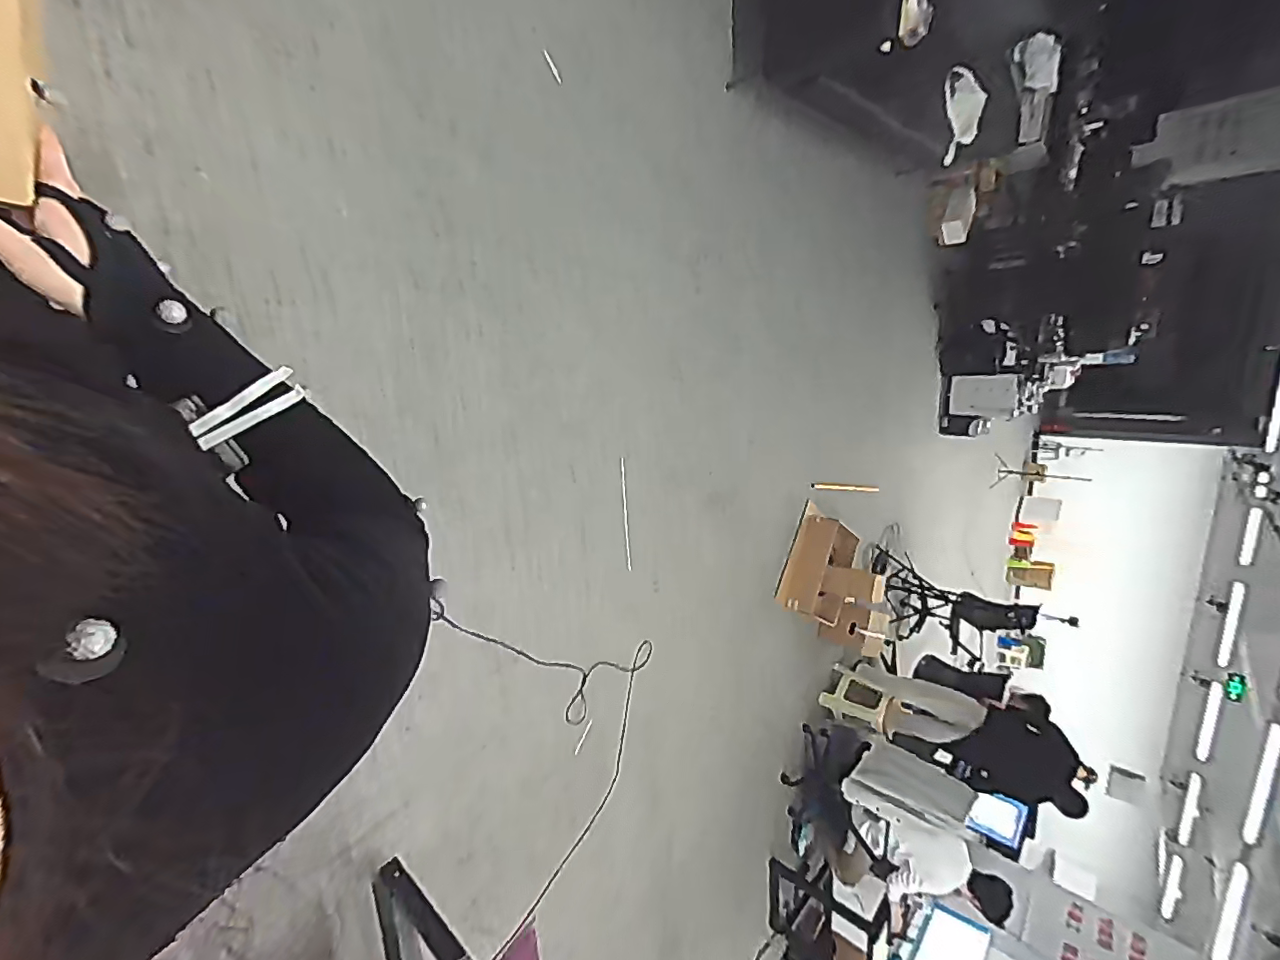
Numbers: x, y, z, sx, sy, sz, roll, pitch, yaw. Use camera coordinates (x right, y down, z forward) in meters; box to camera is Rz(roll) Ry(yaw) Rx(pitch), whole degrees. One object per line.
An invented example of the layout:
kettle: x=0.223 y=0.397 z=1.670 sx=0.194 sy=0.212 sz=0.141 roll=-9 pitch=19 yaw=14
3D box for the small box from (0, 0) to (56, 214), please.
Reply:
small box: x=-0.497 y=-0.280 z=0.338 sx=0.168 sy=0.176 sz=0.179 roll=-3 pitch=110 yaw=-43
